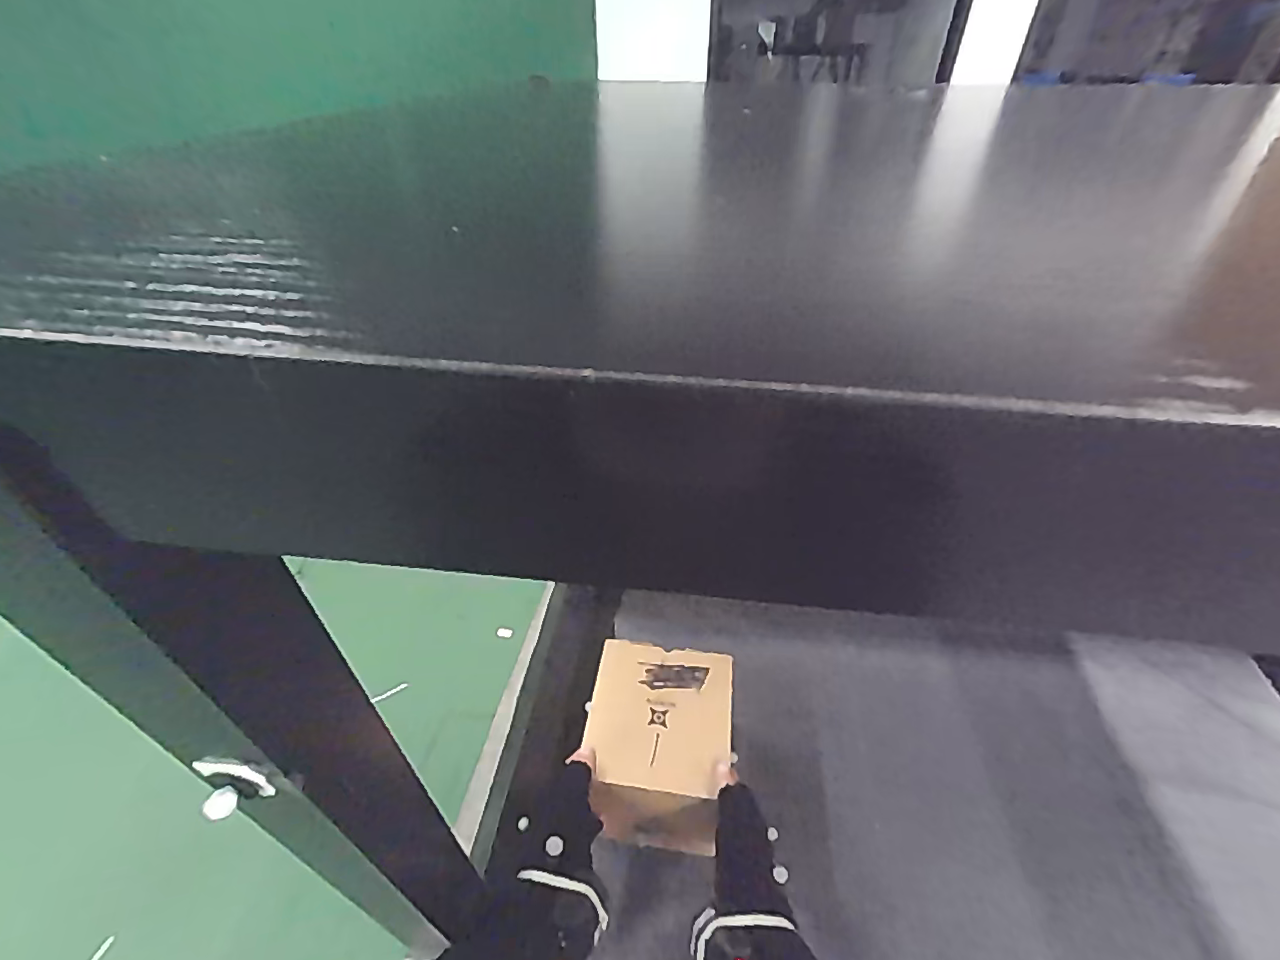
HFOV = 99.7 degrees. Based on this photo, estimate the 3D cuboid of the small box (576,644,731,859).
[{"bbox_3d":[0.021,0.338,0.681,0.168,0.176,0.179,5,39,6],"label":"small box"}]
